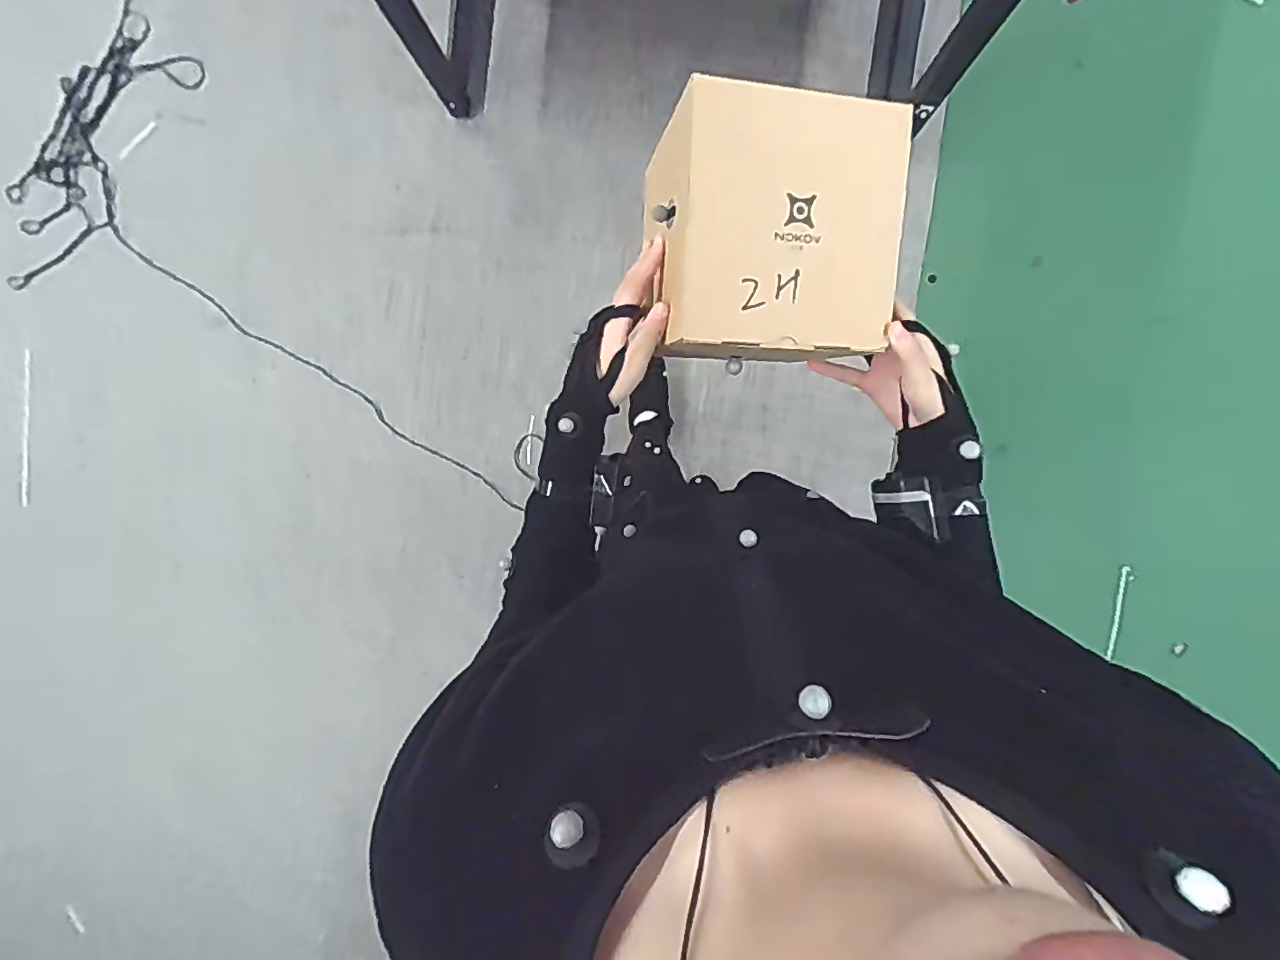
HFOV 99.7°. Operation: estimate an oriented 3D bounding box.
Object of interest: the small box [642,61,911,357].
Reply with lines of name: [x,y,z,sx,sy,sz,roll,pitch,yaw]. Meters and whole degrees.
small box: [0.097,-0.206,0.465,0.168,0.176,0.179,2,99,-10]
